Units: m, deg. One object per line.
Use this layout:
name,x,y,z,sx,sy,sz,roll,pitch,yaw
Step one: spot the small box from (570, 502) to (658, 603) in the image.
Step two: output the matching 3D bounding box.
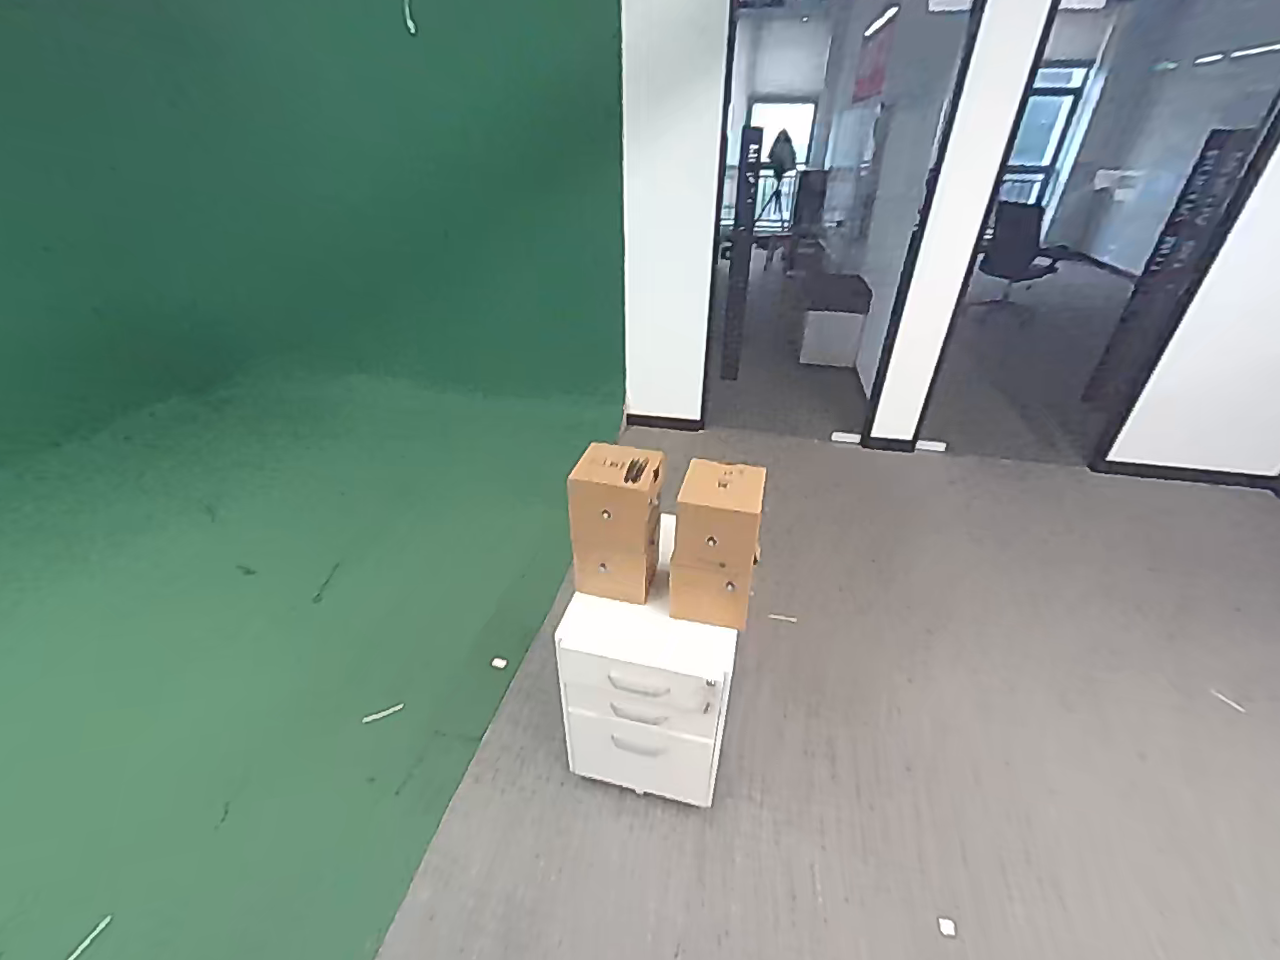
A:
small box,-0.060,0.177,1.312,0.179,0.176,0.168,9,34,10

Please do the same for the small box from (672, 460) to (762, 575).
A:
small box,0.164,0.080,1.163,0.168,0.176,0.179,9,33,12
